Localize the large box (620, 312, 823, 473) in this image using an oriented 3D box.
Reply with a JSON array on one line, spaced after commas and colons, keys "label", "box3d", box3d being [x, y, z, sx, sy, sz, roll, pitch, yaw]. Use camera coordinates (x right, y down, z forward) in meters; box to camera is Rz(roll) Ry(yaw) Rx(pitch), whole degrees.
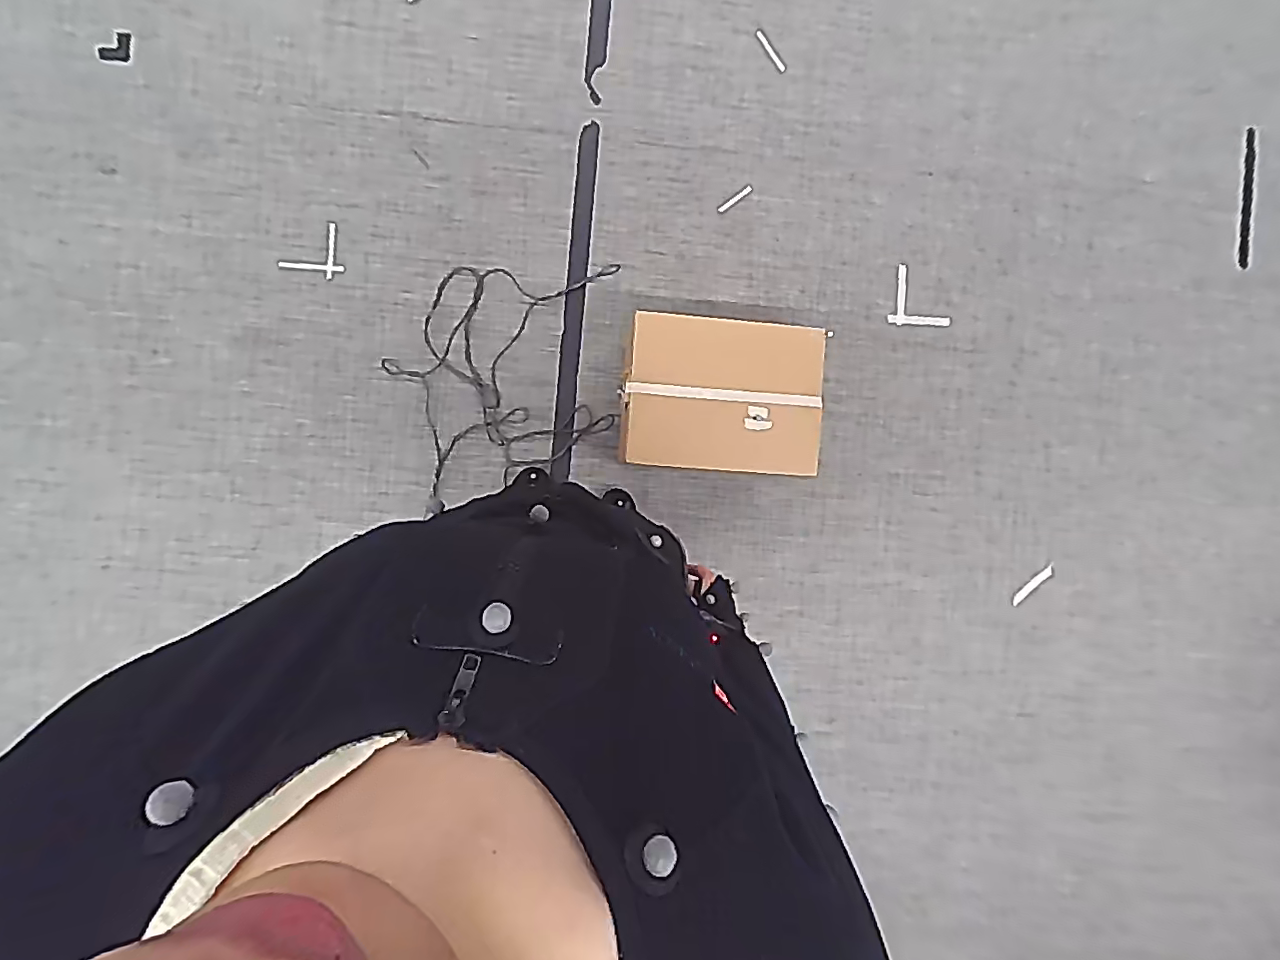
[{"label": "large box", "box3d": [0.164, -0.180, 1.263, 0.408, 0.320, 0.320, 4, 91, -6]}]
